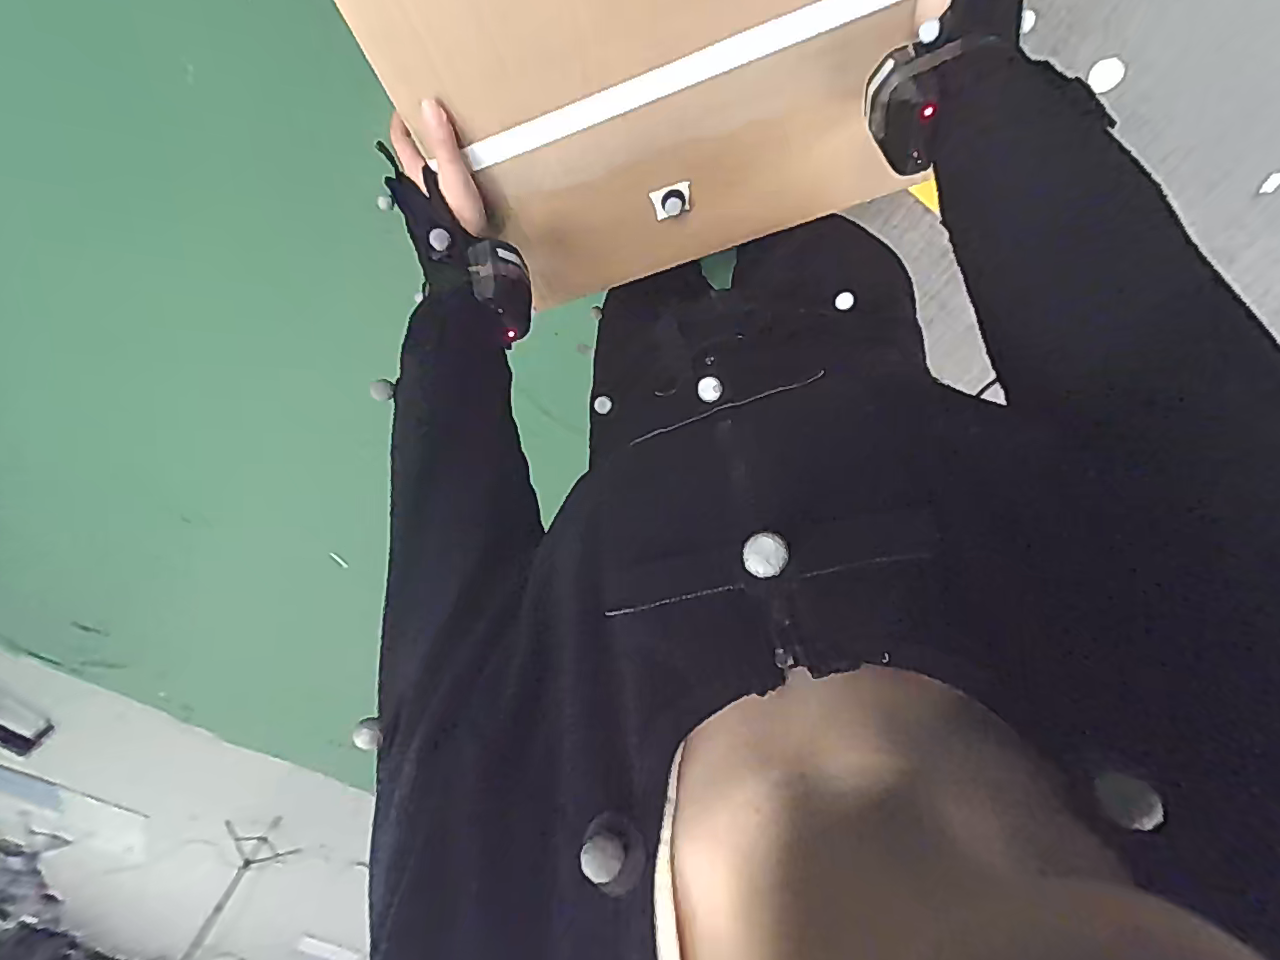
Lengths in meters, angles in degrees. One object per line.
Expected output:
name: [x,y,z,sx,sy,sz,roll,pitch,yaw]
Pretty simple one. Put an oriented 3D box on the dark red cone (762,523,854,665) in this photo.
dark red cone: [0.442,0.309,1.403,0.201,0.394,0.202,24,124,-3]
